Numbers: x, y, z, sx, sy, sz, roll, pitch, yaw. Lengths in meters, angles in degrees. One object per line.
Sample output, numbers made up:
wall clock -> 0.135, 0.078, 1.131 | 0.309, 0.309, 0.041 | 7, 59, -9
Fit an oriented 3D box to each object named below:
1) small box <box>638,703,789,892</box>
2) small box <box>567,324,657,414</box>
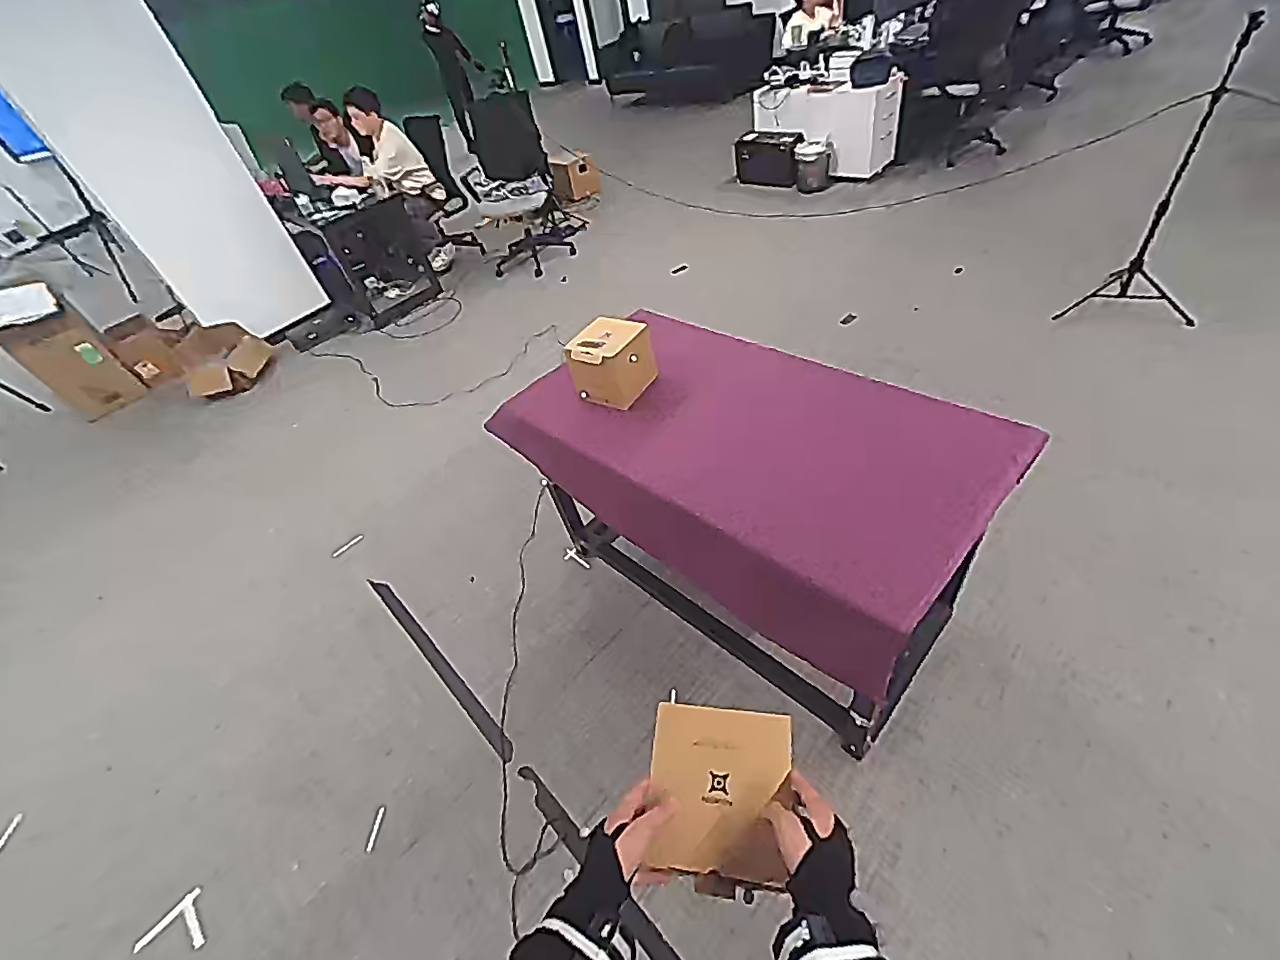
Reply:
small box -> 0.102, 0.406, 0.690 | 0.168, 0.176, 0.179 | 1, 52, 12
small box -> -0.069, -0.309, 1.504 | 0.168, 0.176, 0.179 | 18, 52, 29
